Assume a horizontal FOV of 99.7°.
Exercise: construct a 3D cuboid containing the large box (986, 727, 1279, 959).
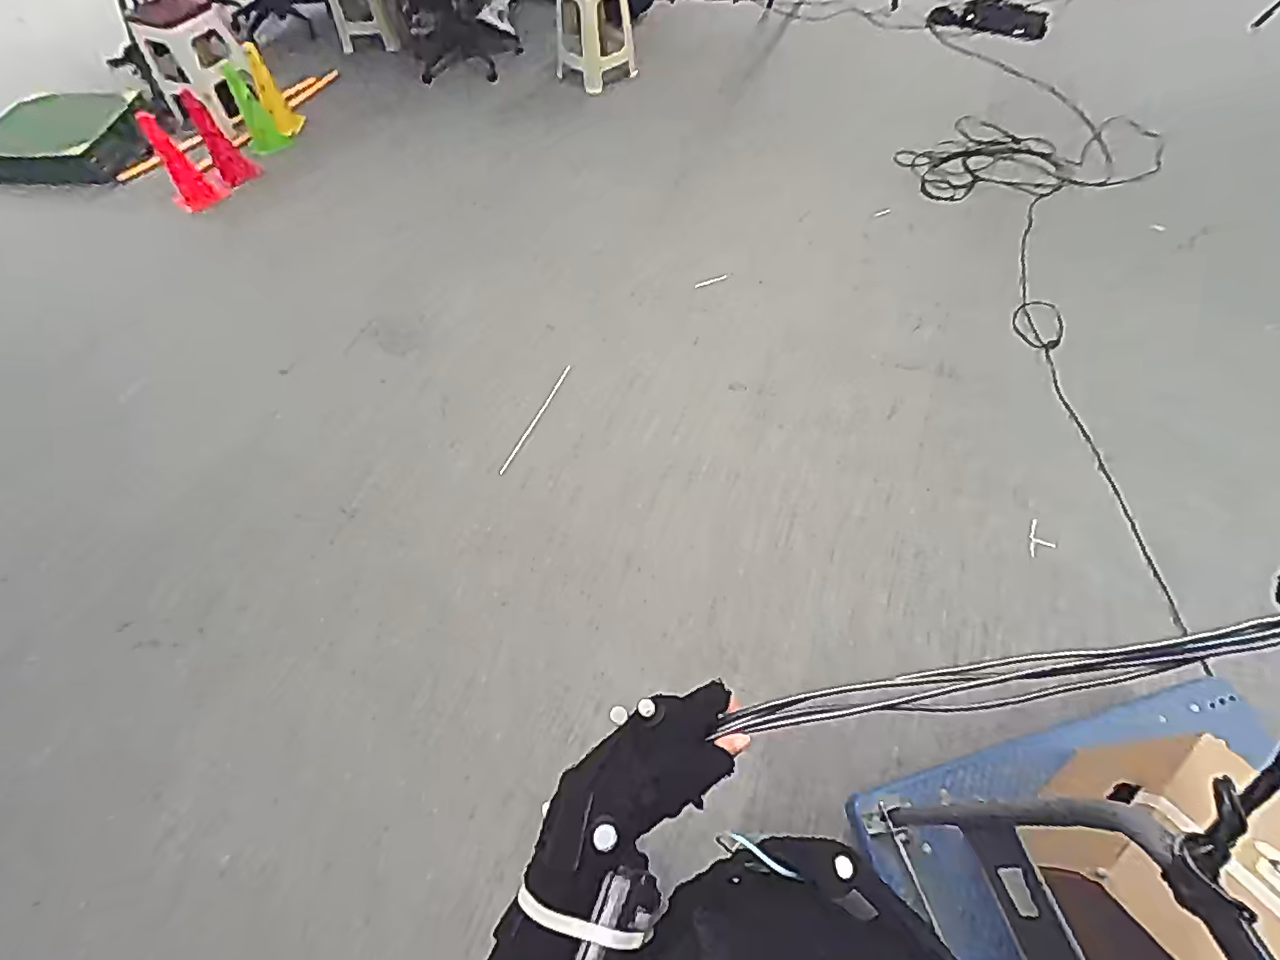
[{"bbox_3d":[0.877,0.676,0.848,0.320,0.320,0.408,-34,62,-17],"label":"large box"}]
